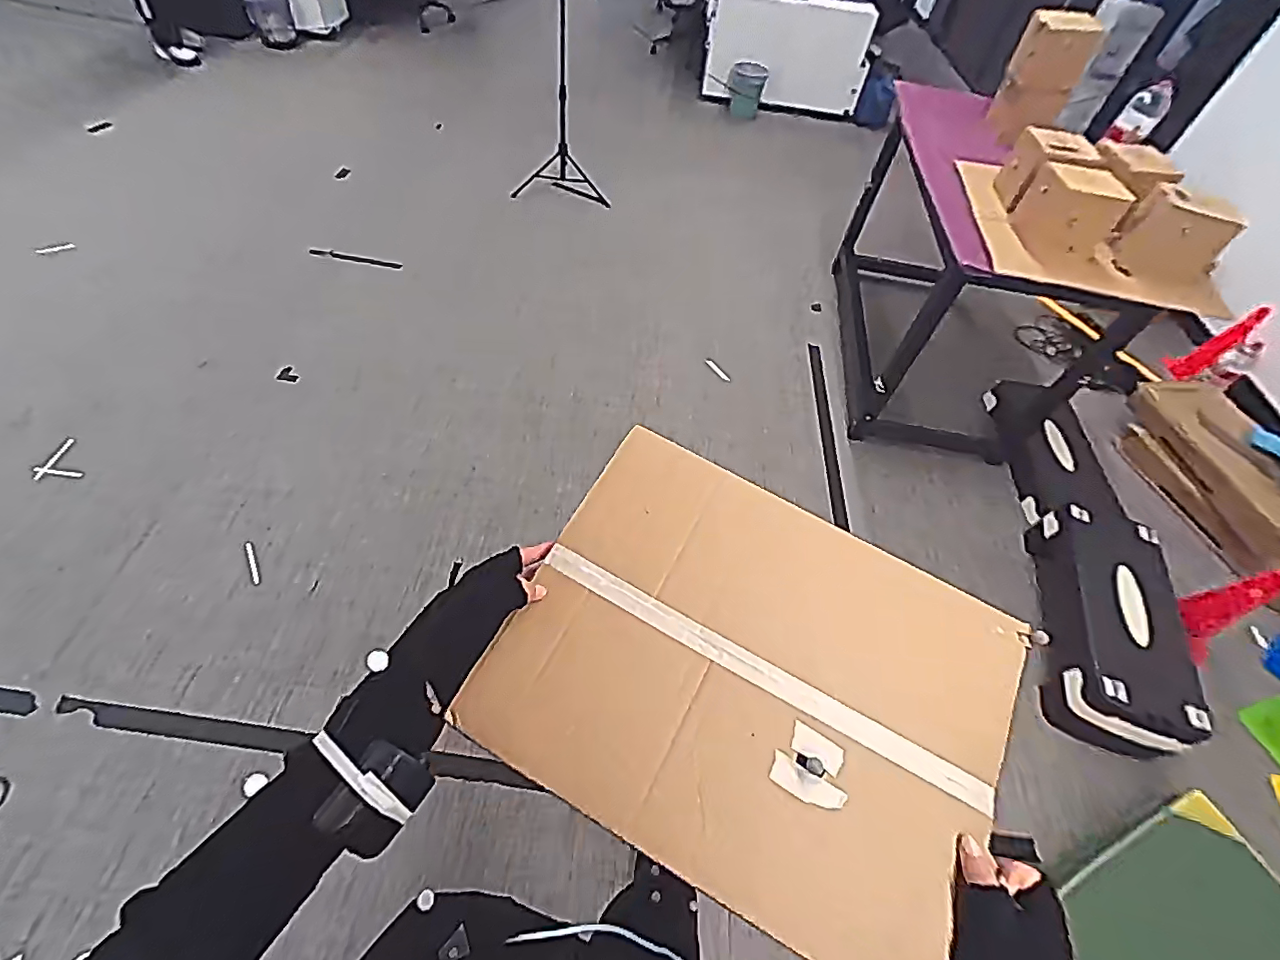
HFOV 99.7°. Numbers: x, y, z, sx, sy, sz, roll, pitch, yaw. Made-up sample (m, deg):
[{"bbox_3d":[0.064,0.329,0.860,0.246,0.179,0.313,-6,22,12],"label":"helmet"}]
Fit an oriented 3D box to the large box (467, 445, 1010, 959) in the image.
[{"bbox_3d":[0.088,0.232,0.602,0.408,0.320,0.320,28,66,8],"label":"large box"}]
